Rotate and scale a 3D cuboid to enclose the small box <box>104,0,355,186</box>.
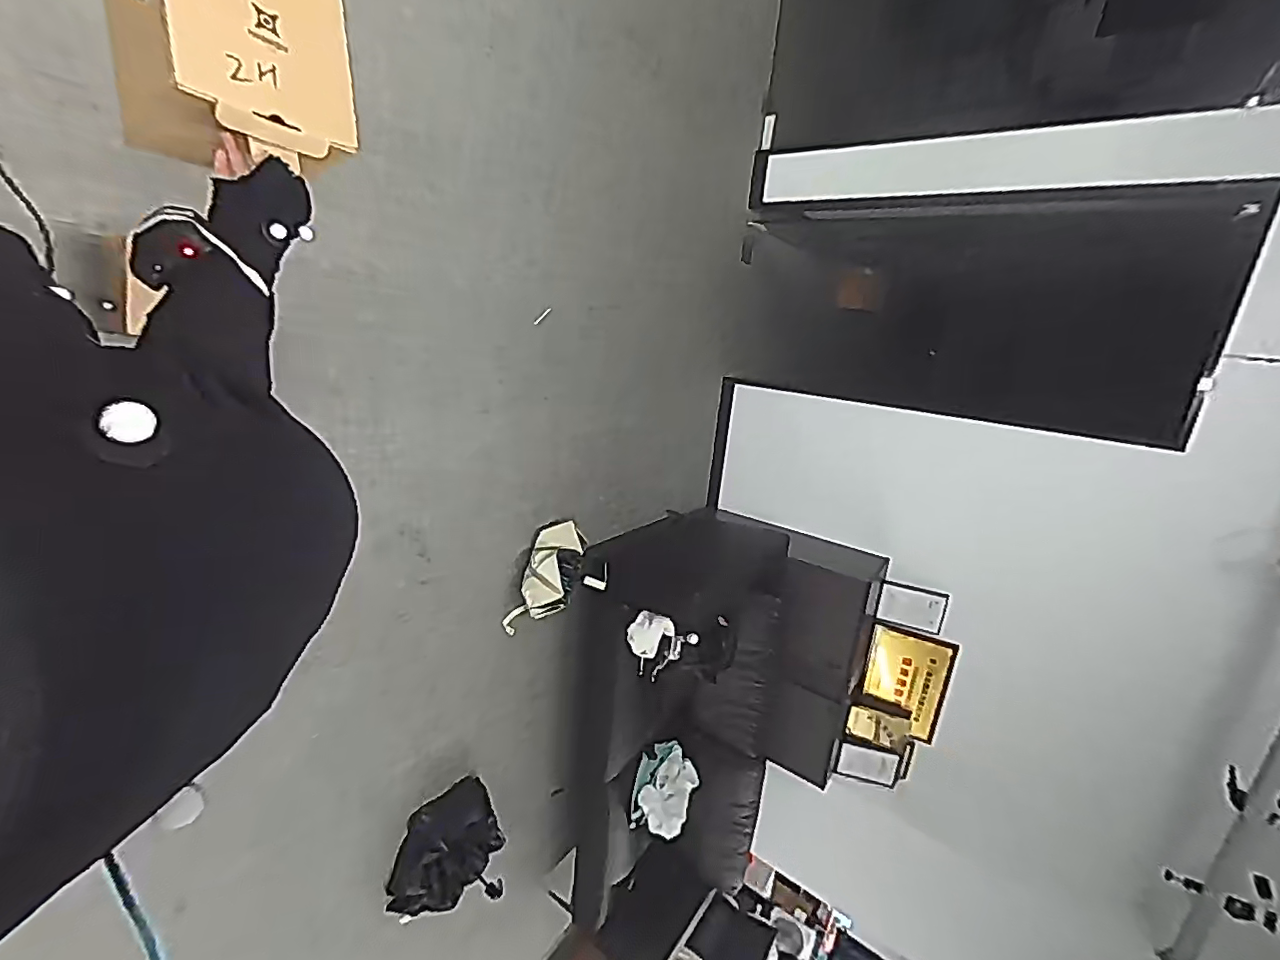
[{"bbox_3d":[-0.439,-0.451,0.582,0.168,0.176,0.179,-13,103,-54],"label":"small box"}]

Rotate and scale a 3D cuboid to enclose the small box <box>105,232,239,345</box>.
[{"bbox_3d":[-0.926,-0.376,1.071,0.168,0.176,0.179,-6,109,-55],"label":"small box"}]
